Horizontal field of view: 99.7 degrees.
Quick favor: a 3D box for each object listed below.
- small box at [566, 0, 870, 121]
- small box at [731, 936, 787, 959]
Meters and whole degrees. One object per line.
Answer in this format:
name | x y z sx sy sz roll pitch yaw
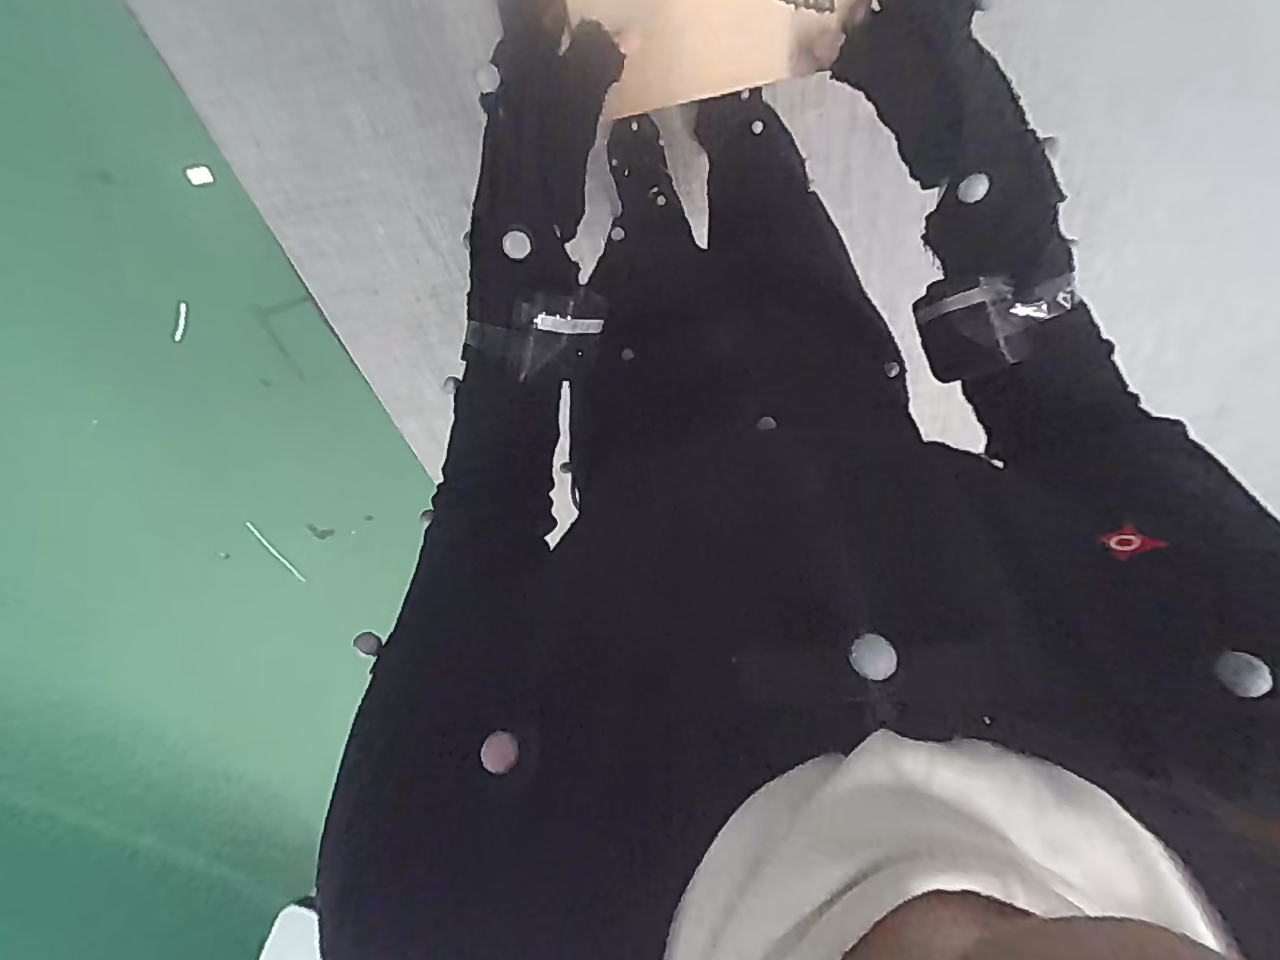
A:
small box | 0.033 -0.357 0.339 0.179 0.176 0.168 -11 136 2
small box | 0.401 1.633 1.784 0.179 0.176 0.168 -13 131 10
